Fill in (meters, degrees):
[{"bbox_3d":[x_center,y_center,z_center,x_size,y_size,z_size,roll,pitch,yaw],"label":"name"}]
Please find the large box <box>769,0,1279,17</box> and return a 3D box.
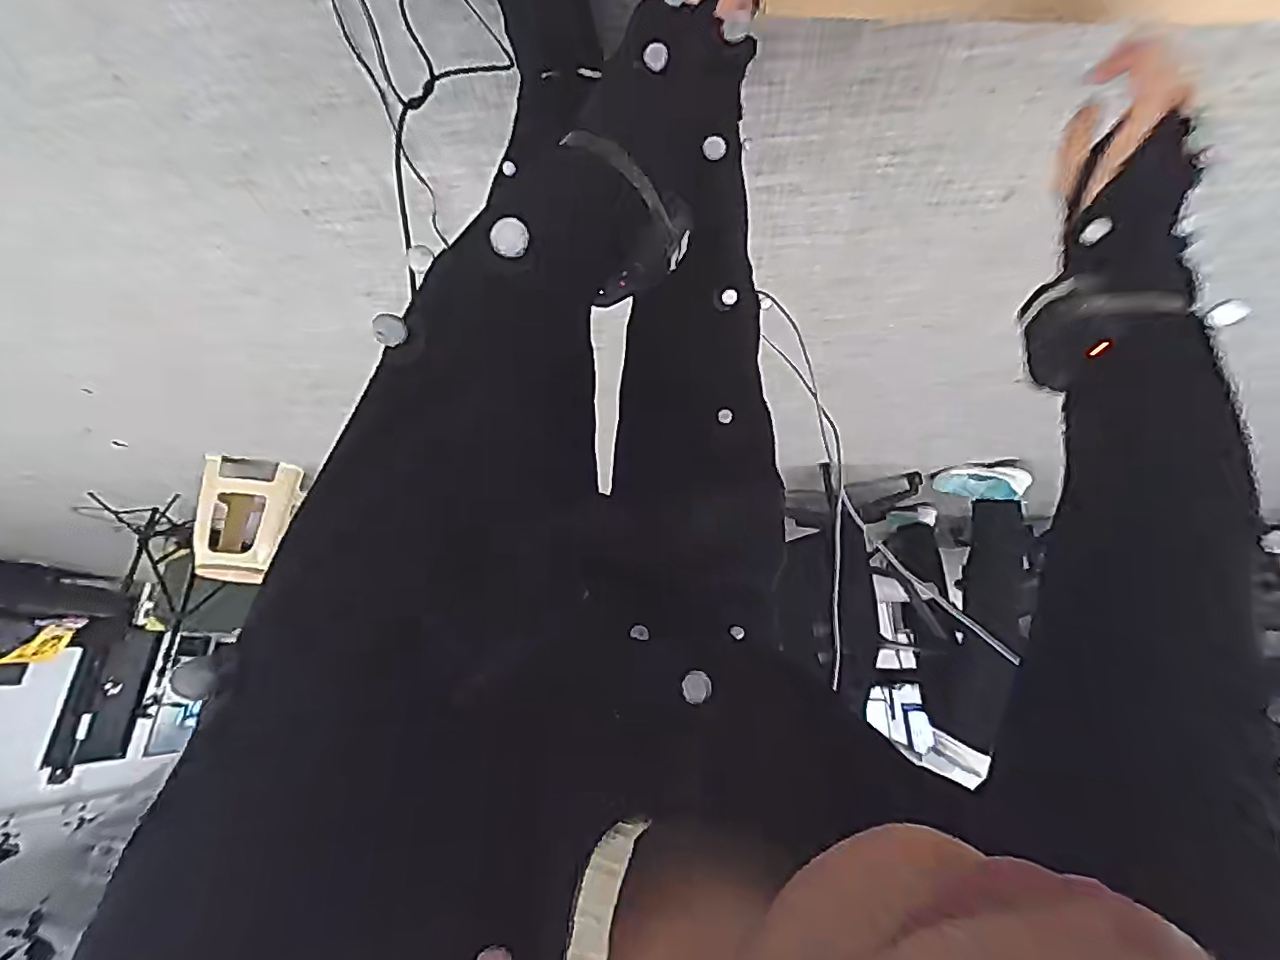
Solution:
[{"bbox_3d":[0.291,-0.543,0.317,0.408,0.320,0.320,1,160,0],"label":"large box"}]
